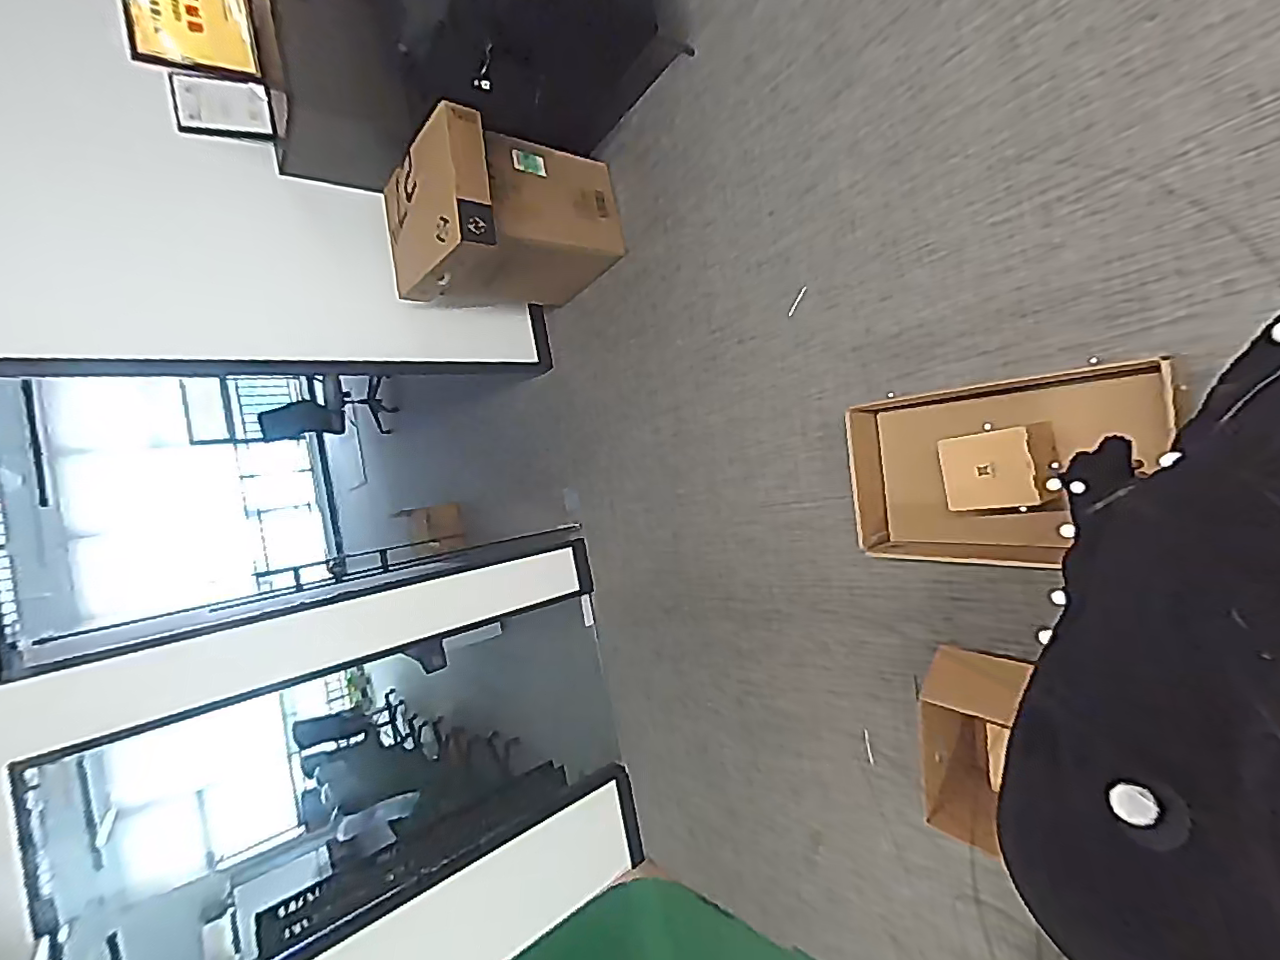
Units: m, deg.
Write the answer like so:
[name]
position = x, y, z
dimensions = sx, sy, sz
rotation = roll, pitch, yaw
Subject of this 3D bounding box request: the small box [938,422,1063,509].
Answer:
[small box]
position = 0.804, -0.031, 1.207
dimensions = 0.179, 0.176, 0.168
rotation = -12, 87, 51
